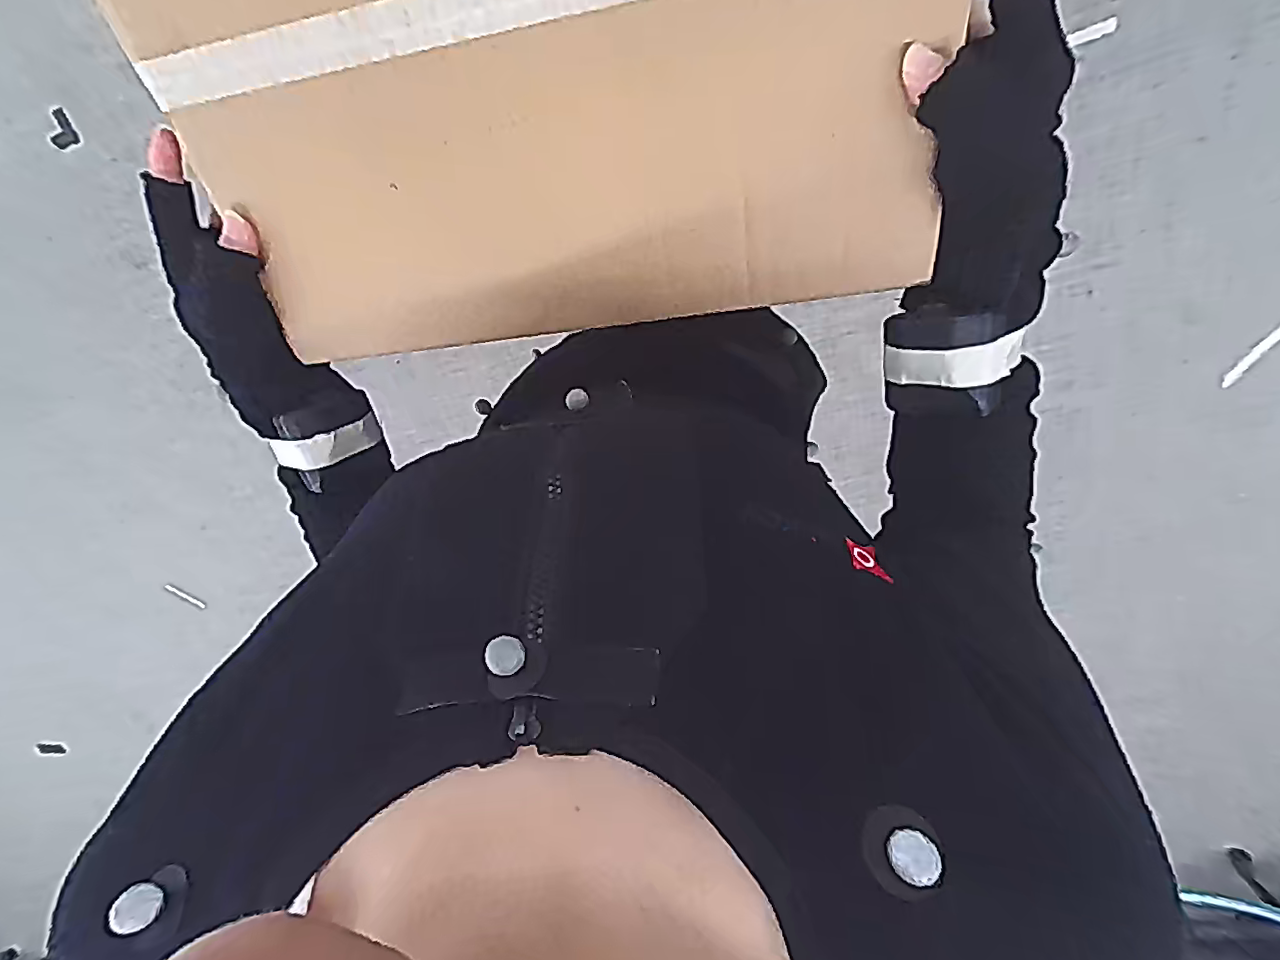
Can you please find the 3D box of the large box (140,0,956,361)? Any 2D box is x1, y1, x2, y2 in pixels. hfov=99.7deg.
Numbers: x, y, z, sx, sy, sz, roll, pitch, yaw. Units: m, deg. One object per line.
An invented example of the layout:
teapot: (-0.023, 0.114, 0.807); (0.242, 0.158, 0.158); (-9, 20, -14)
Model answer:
large box: (-0.042, -0.309, 0.387); (0.408, 0.320, 0.320); (-5, 124, 10)
